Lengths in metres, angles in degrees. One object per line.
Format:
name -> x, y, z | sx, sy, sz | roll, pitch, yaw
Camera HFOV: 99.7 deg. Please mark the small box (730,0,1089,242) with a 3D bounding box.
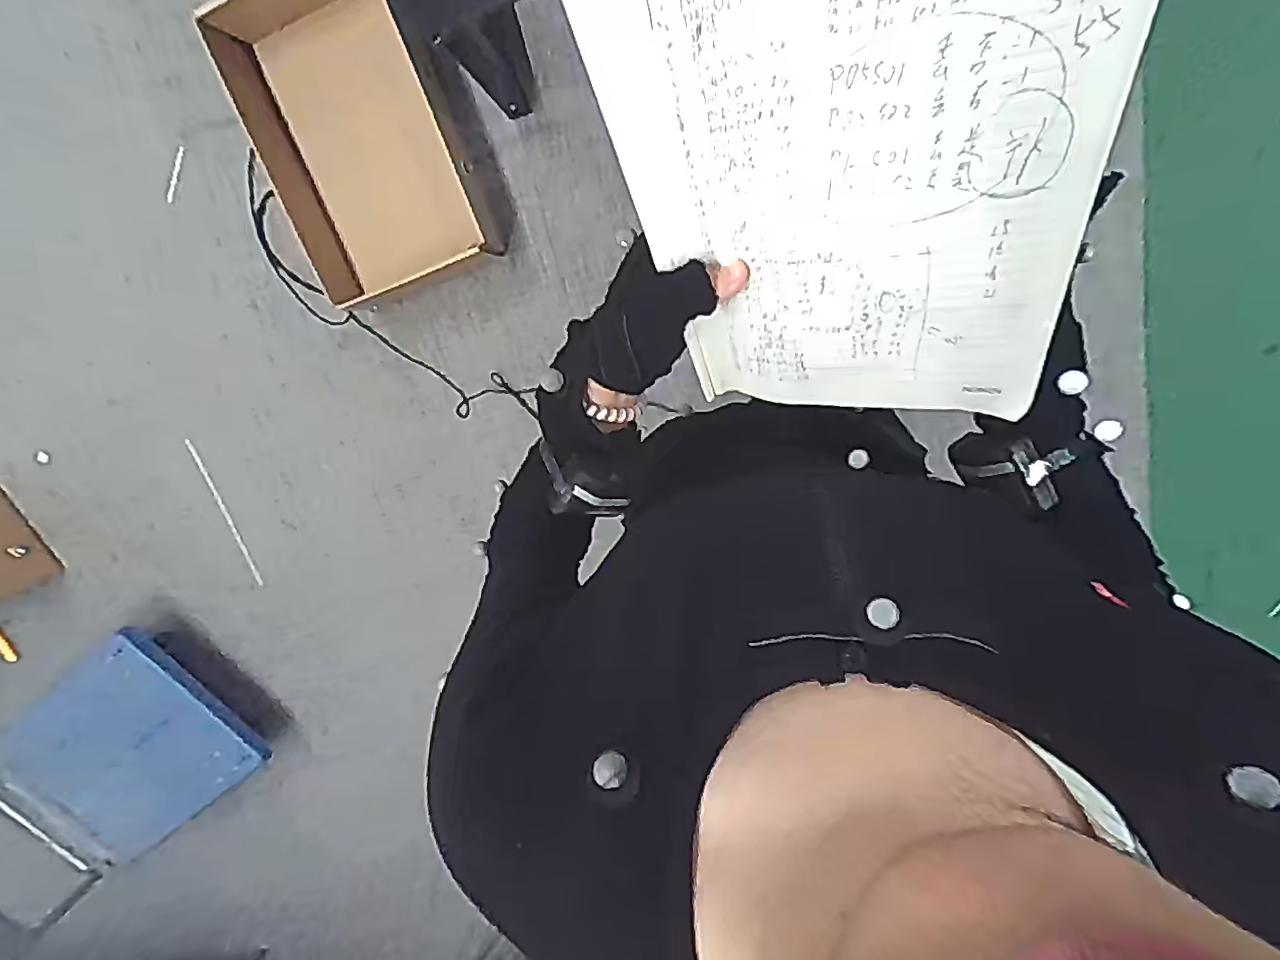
small box -> 0.150, -0.263, 0.357 | 0.168, 0.176, 0.179 | -1, 109, 4
